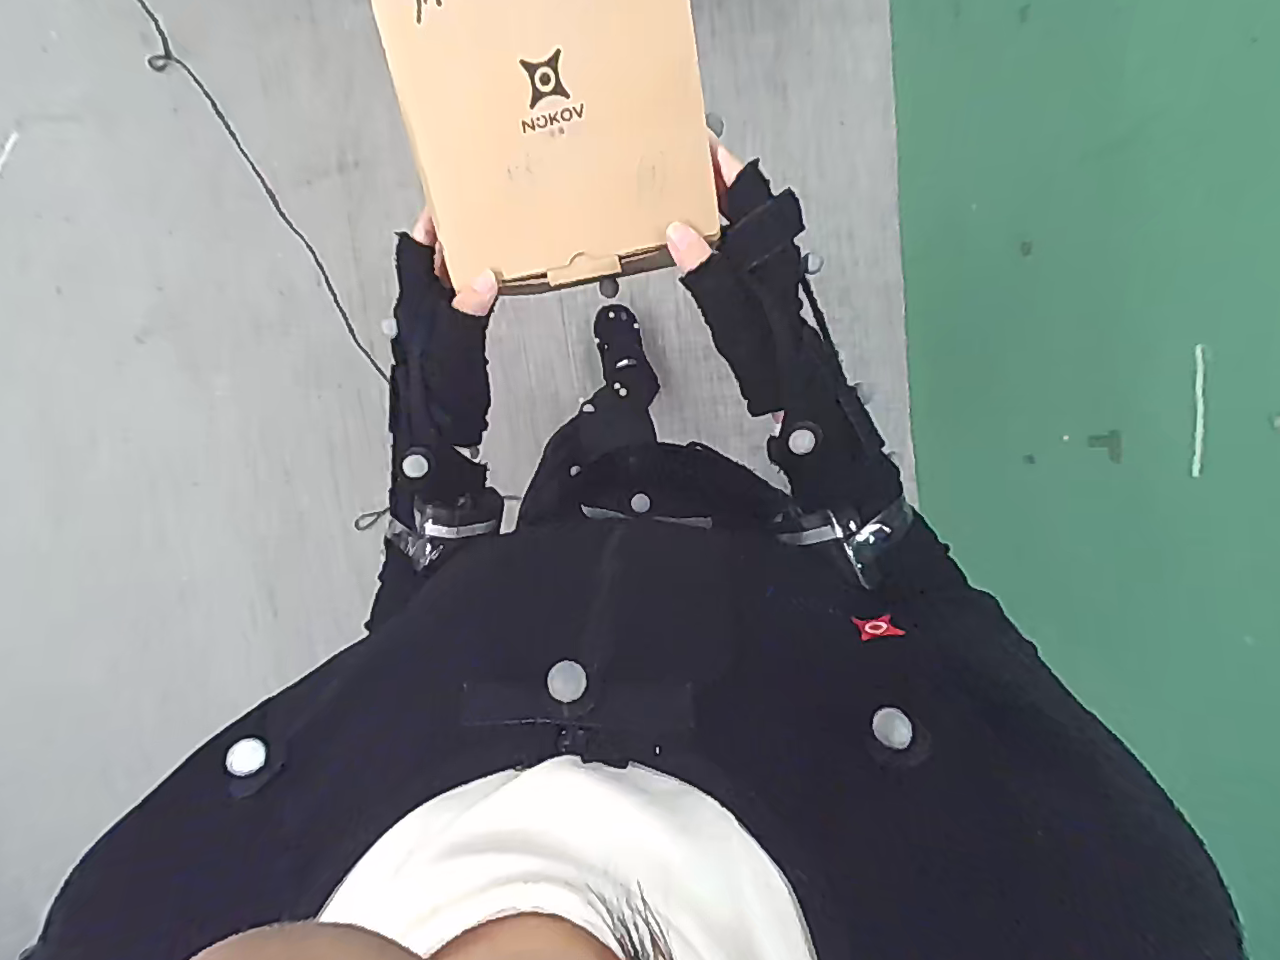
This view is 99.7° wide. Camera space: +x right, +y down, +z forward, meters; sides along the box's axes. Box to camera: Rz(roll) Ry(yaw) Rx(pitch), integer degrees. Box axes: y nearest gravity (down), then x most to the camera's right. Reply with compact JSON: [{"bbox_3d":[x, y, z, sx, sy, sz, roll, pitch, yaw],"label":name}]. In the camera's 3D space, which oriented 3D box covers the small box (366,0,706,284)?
[{"bbox_3d":[-0.046,-0.241,0.367,0.168,0.176,0.179,-8,109,9],"label":"small box"}]
